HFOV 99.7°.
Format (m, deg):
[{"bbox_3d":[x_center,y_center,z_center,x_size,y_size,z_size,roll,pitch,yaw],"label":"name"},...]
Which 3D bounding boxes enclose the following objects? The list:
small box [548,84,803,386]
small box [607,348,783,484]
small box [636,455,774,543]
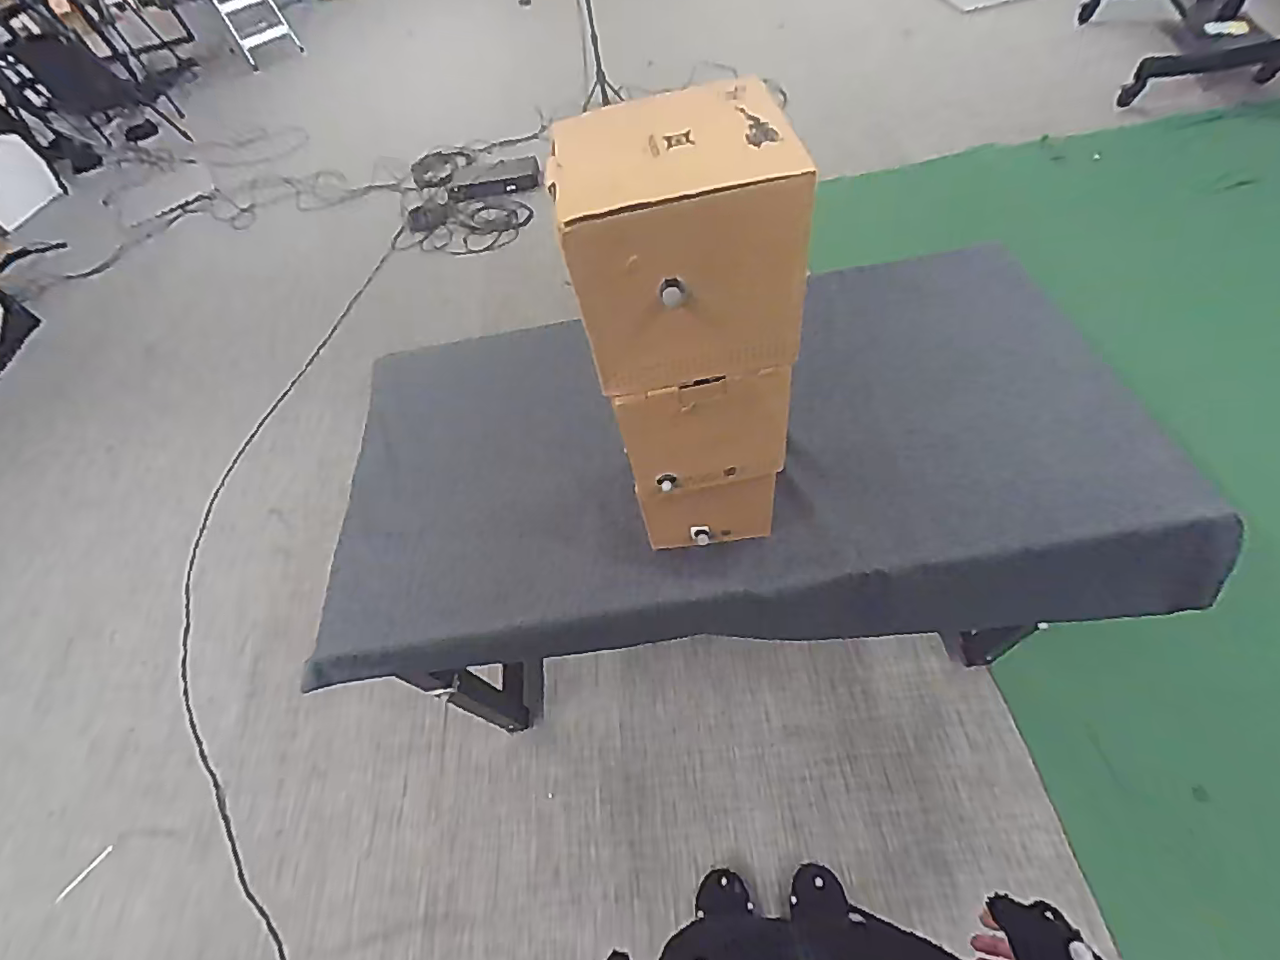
[{"bbox_3d":[0.030,-0.206,0.476,0.179,0.176,0.168,-13,53,2],"label":"small box"},{"bbox_3d":[0.053,-0.113,0.606,0.168,0.176,0.179,-15,56,2],"label":"small box"},{"bbox_3d":[0.082,-0.035,0.747,0.168,0.176,0.179,-10,56,5],"label":"small box"}]
